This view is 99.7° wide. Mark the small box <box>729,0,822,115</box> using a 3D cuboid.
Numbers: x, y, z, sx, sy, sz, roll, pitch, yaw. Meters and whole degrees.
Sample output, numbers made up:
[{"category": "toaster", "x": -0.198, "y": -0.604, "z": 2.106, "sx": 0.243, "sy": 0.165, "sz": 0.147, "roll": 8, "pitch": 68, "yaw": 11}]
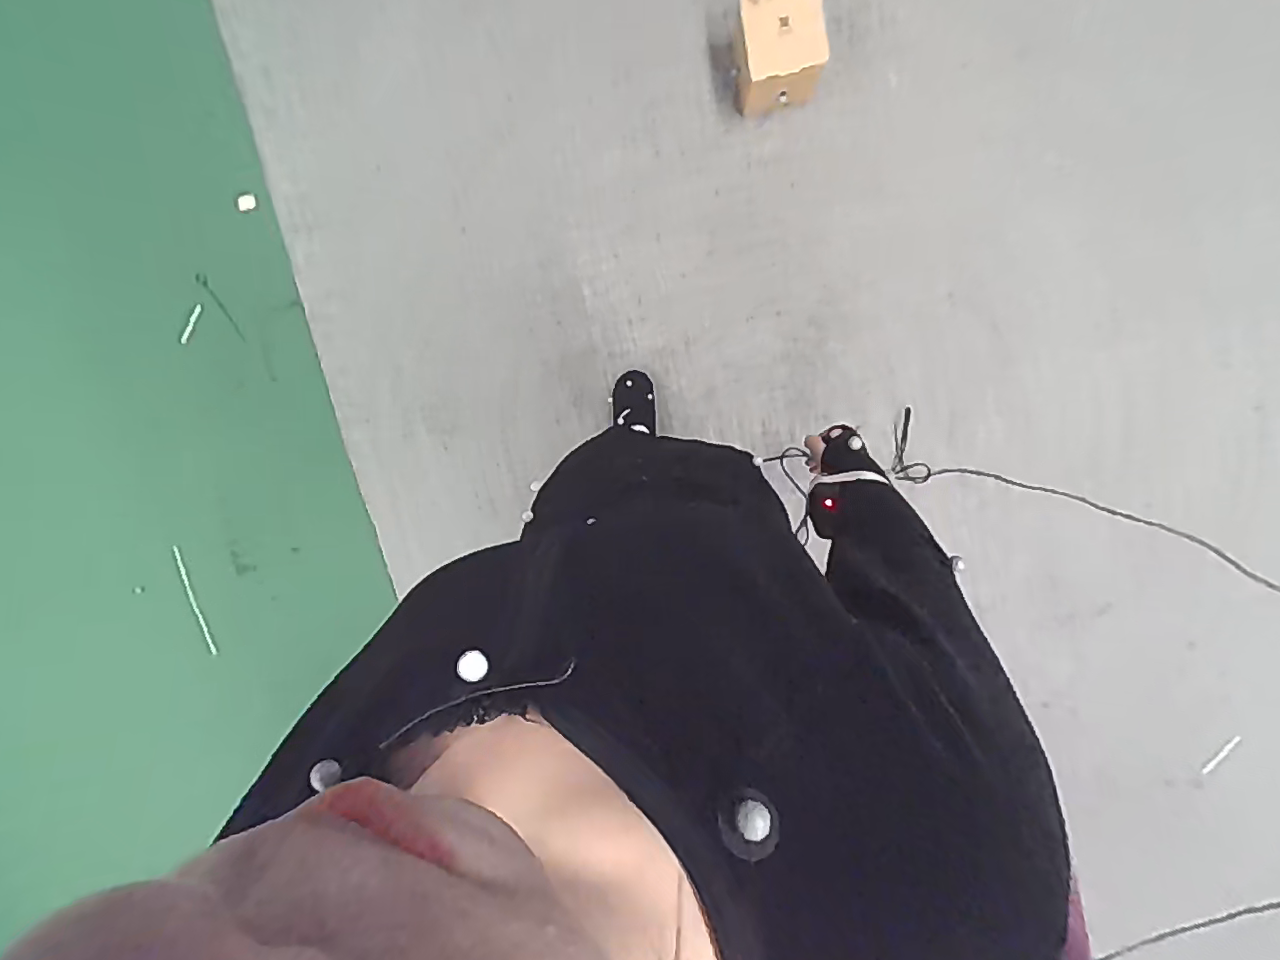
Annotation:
[{"category": "small box", "x": 0.298, "y": -0.952, "z": 1.211, "sx": 0.168, "sy": 0.176, "sz": 0.179, "roll": -9, "pitch": 100, "yaw": 6}]

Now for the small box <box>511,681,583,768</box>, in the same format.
[{"category": "small box", "x": -0.264, "y": 0.701, "z": 1.564, "sx": 0.168, "sy": 0.176, "sz": 0.179, "roll": -3, "pitch": 101, "yaw": 6}]
